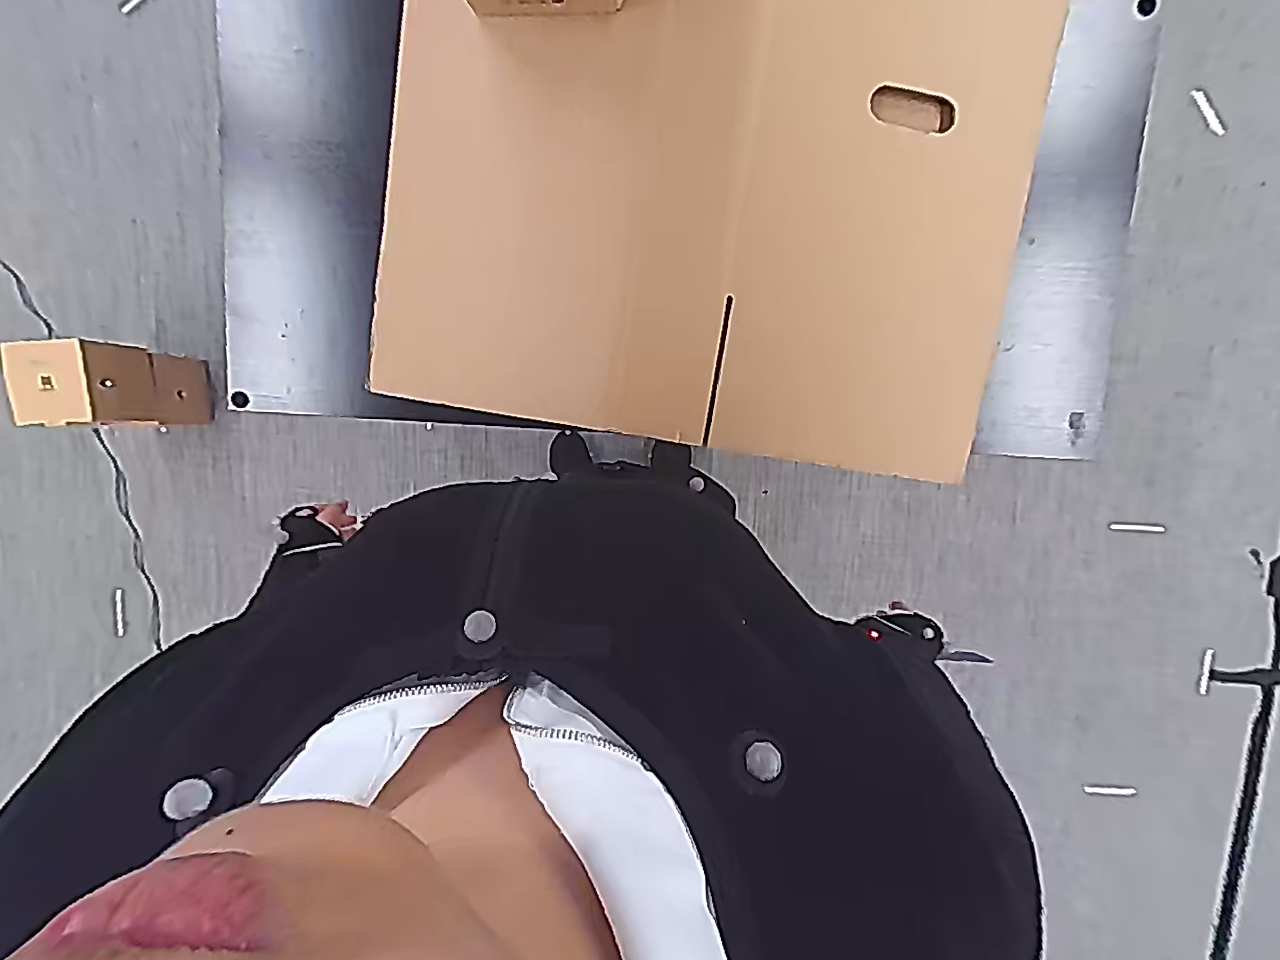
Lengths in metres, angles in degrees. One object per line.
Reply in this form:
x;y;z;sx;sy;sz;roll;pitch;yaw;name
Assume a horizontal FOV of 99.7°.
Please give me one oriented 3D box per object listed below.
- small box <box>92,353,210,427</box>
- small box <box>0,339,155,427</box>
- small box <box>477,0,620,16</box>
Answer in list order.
-1.240;-0.224;1.369;0.168;0.176;0.179;-1;97;0;small box
-1.239;-0.211;1.207;0.168;0.176;0.179;-4;96;-1;small box
-0.100;-0.550;0.458;0.168;0.176;0.179;10;95;13;small box
